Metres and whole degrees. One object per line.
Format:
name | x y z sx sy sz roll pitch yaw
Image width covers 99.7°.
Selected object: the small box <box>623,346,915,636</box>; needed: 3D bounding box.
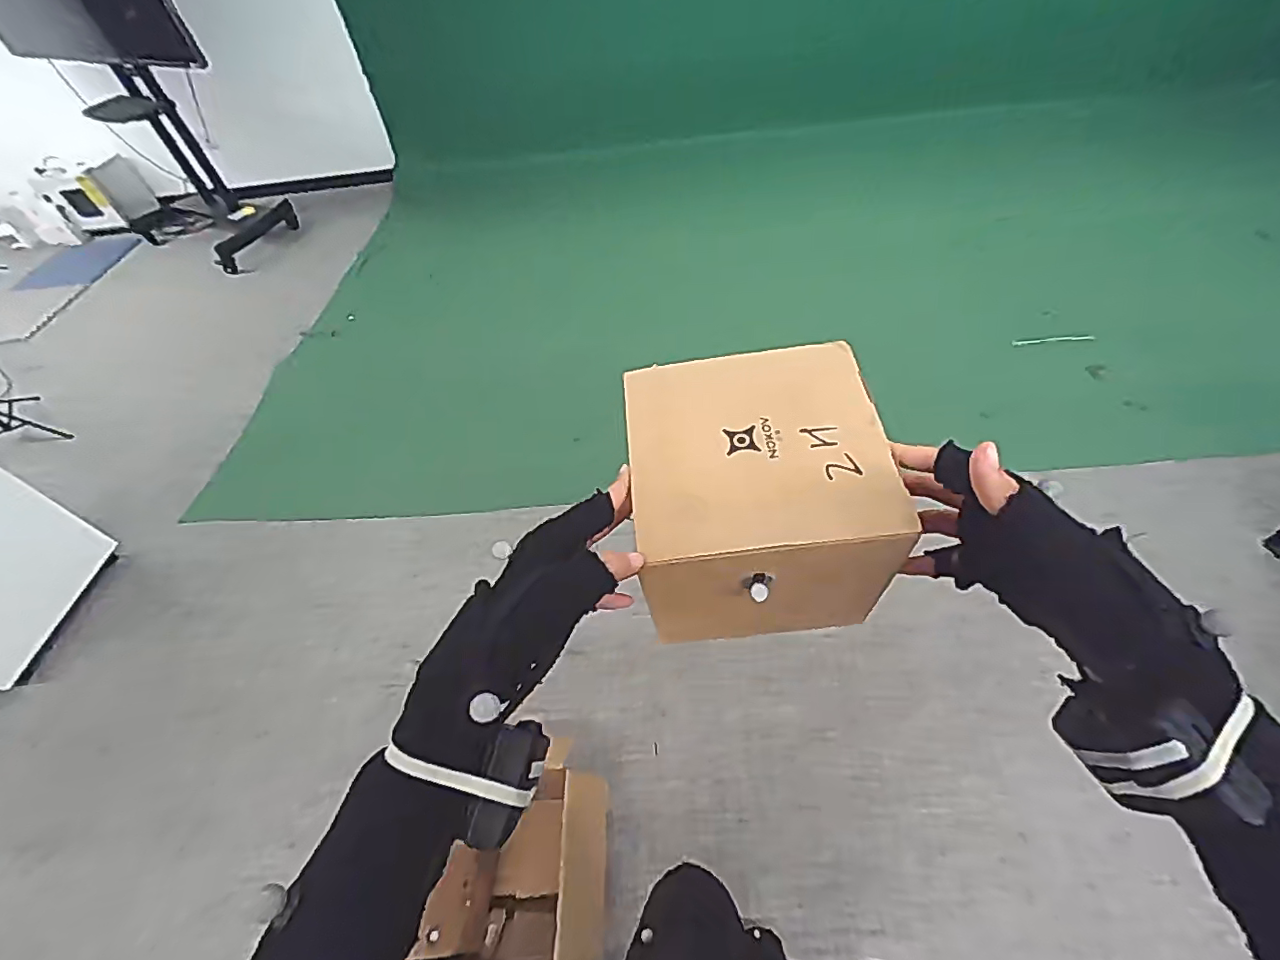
small box | 0.087 0.019 0.440 0.179 0.176 0.168 -6 57 4
